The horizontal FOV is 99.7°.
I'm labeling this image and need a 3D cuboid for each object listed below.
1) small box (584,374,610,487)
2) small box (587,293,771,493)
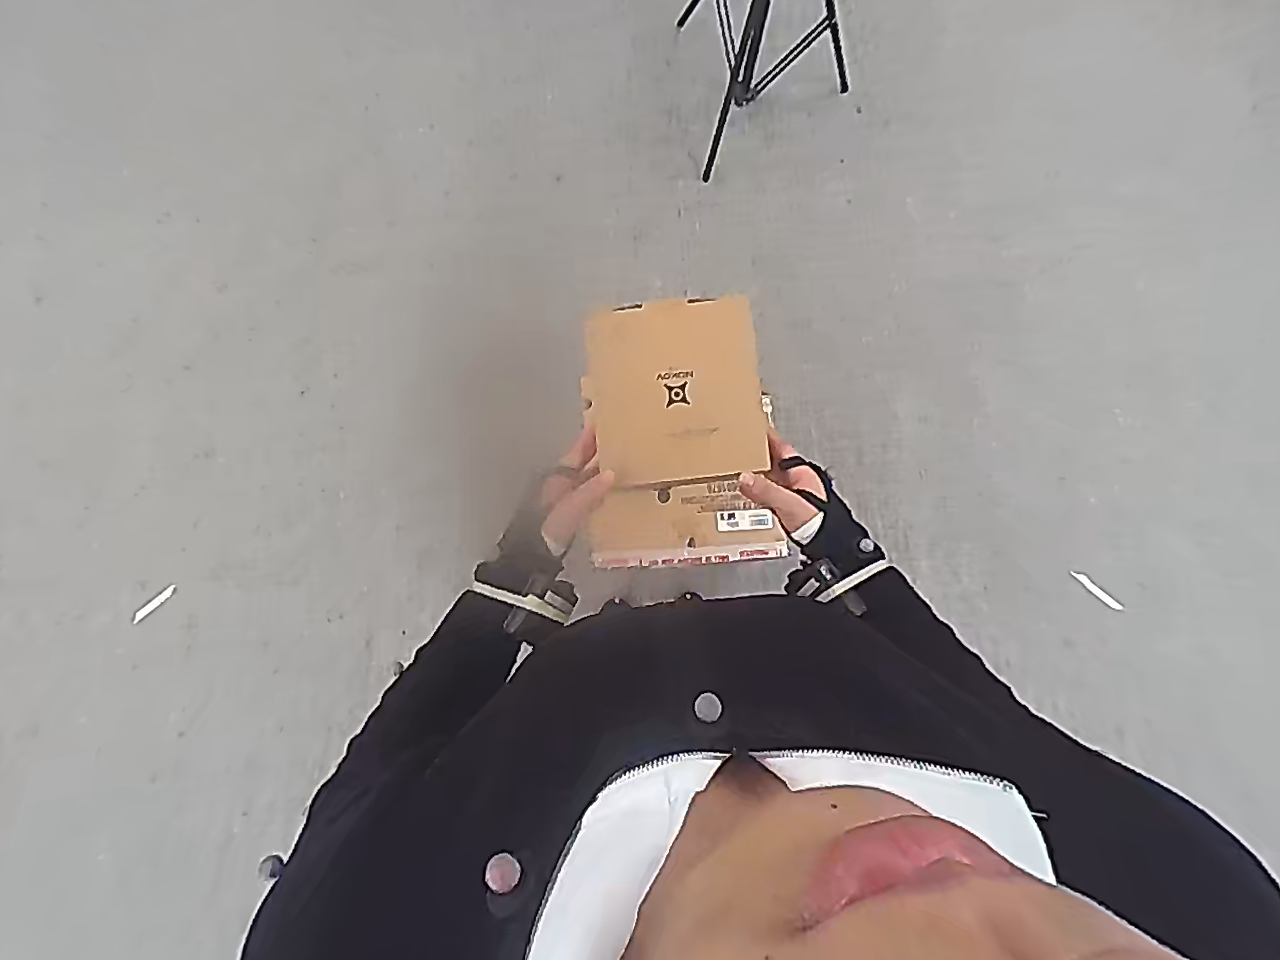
[{"bbox_3d":[-0.010,-0.089,0.988,0.168,0.176,0.179,-4,82,0],"label":"small box"},{"bbox_3d":[0.033,-0.083,0.597,0.168,0.176,0.179,-7,87,-3],"label":"small box"}]
